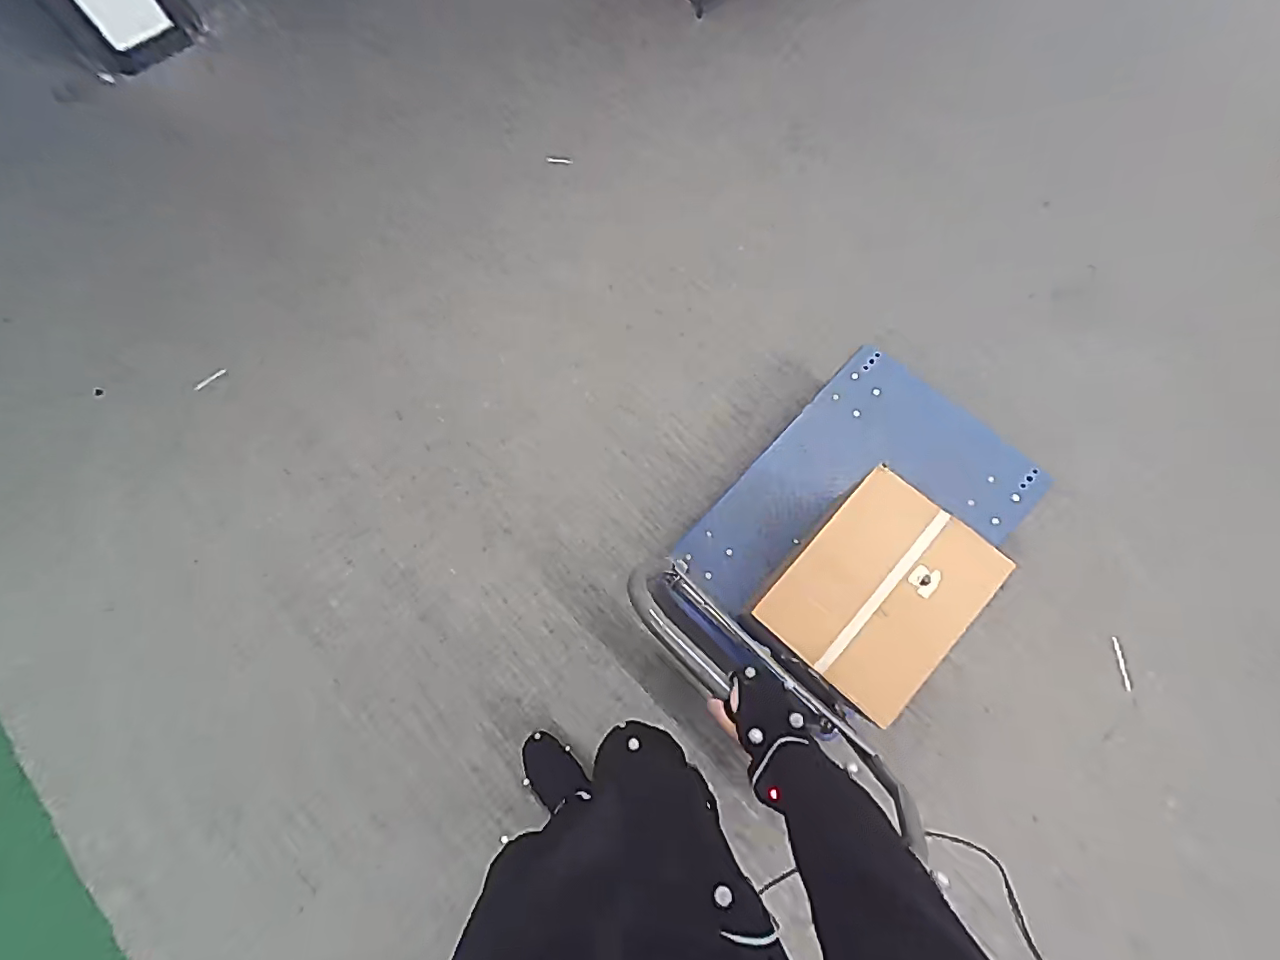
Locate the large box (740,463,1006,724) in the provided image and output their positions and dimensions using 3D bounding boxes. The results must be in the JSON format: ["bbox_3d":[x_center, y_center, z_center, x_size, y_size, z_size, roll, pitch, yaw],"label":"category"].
[{"bbox_3d":[0.470,0.241,1.179,0.320,0.320,0.408,41,83,12],"label":"large box"}]
